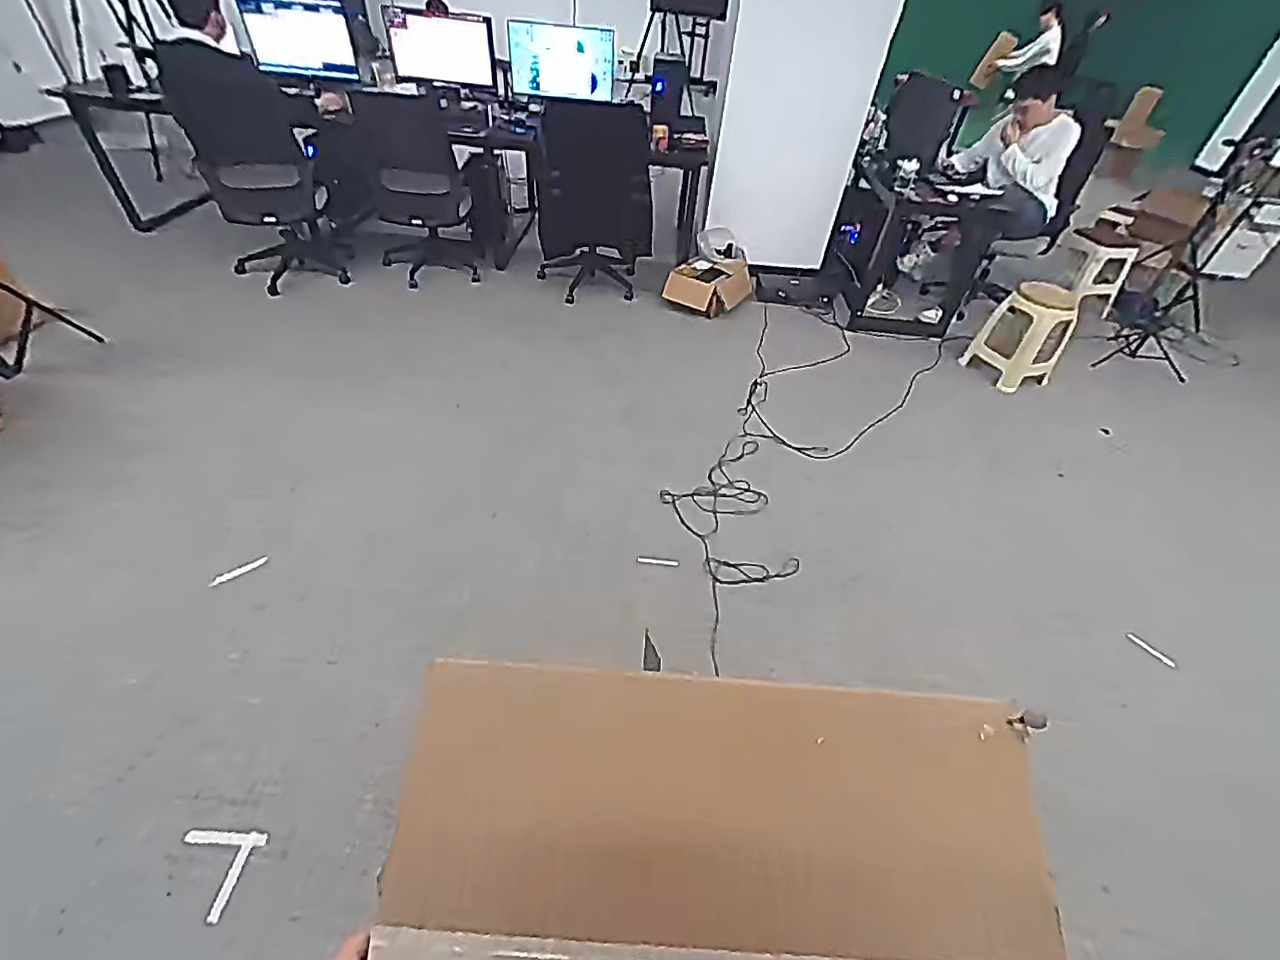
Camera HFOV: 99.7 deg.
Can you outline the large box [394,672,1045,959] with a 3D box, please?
[{"bbox_3d":[0.043,0.347,0.463,0.408,0.320,0.320,4,68,-1],"label":"large box"}]
